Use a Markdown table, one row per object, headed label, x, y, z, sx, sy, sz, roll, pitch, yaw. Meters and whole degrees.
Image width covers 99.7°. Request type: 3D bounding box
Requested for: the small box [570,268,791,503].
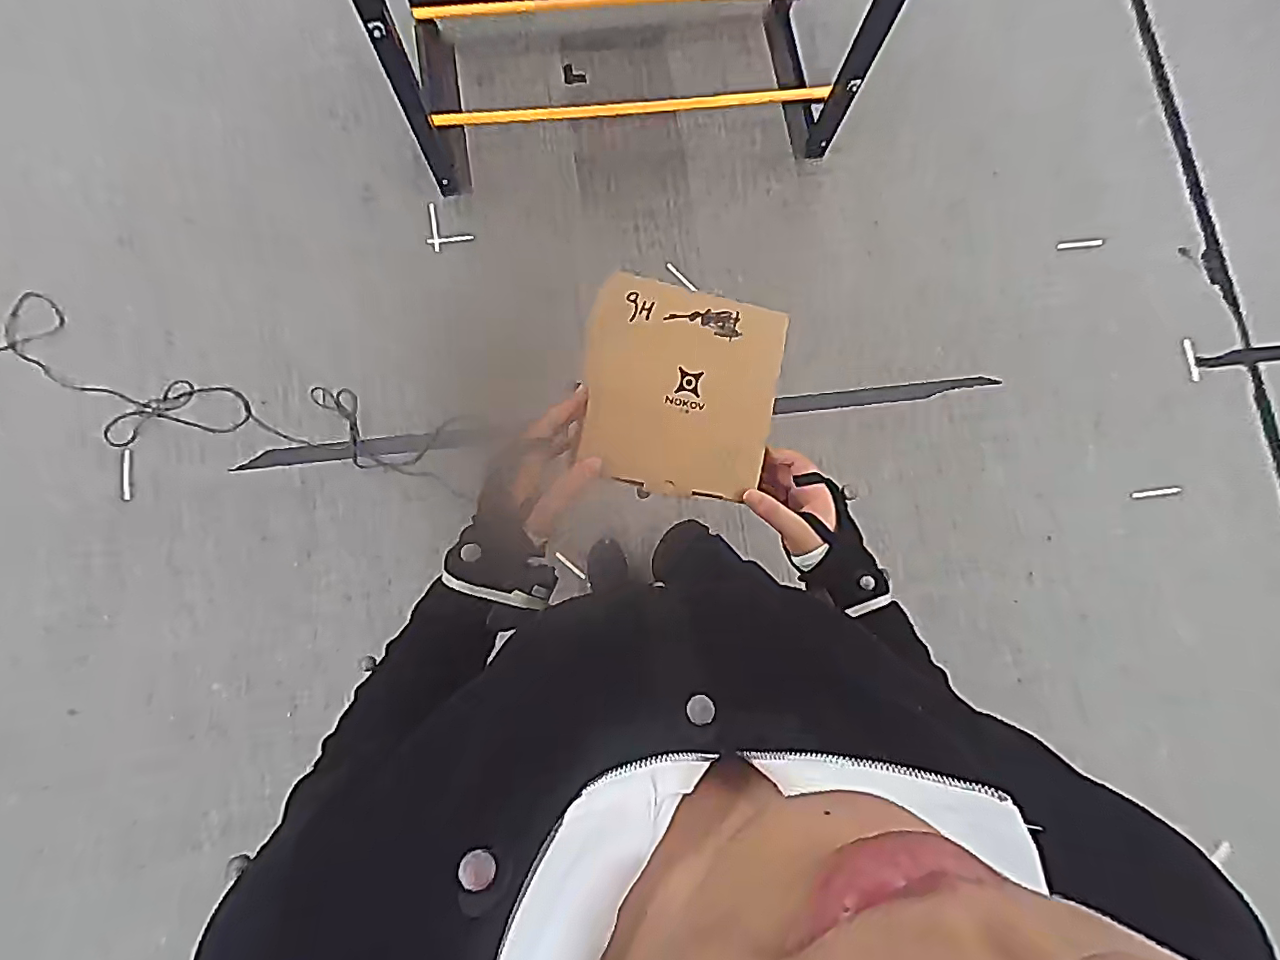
| label | x | y | z | sx | sy | sz | roll | pitch | yaw |
| --- | --- | --- | --- | --- | --- | --- | --- | --- | --- |
| small box | 0.025 | -0.085 | 0.545 | 0.168 | 0.176 | 0.179 | 10 | 93 | -12 |
